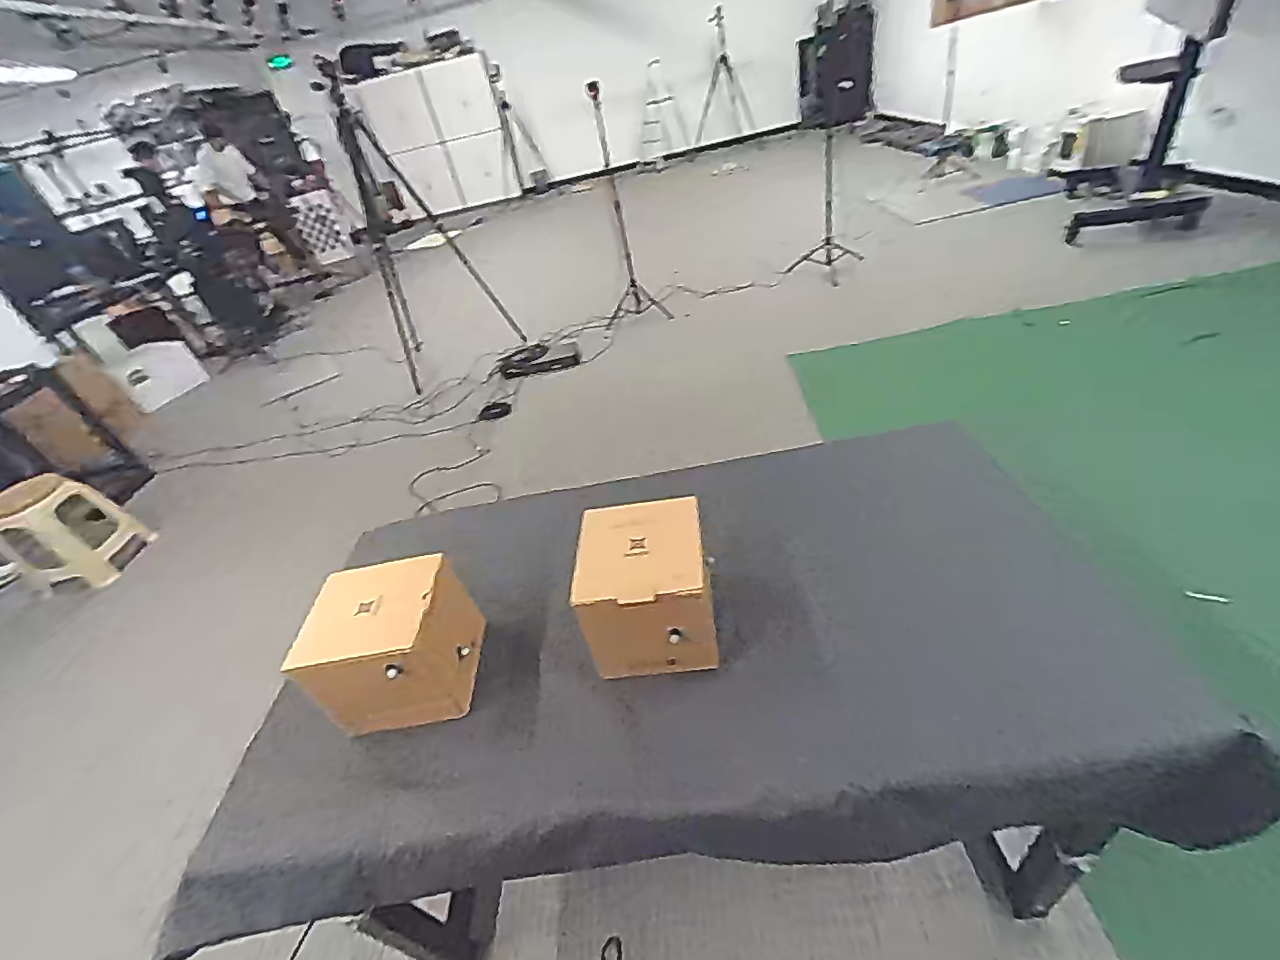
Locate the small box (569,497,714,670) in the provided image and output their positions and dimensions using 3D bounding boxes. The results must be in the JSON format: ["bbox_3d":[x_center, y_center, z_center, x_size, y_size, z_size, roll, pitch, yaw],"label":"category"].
[{"bbox_3d":[0.009,0.150,0.761,0.168,0.176,0.179,-7,37,7],"label":"small box"}]

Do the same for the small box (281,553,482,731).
[{"bbox_3d":[-0.349,0.232,0.770,0.179,0.176,0.168,-11,37,3],"label":"small box"}]
